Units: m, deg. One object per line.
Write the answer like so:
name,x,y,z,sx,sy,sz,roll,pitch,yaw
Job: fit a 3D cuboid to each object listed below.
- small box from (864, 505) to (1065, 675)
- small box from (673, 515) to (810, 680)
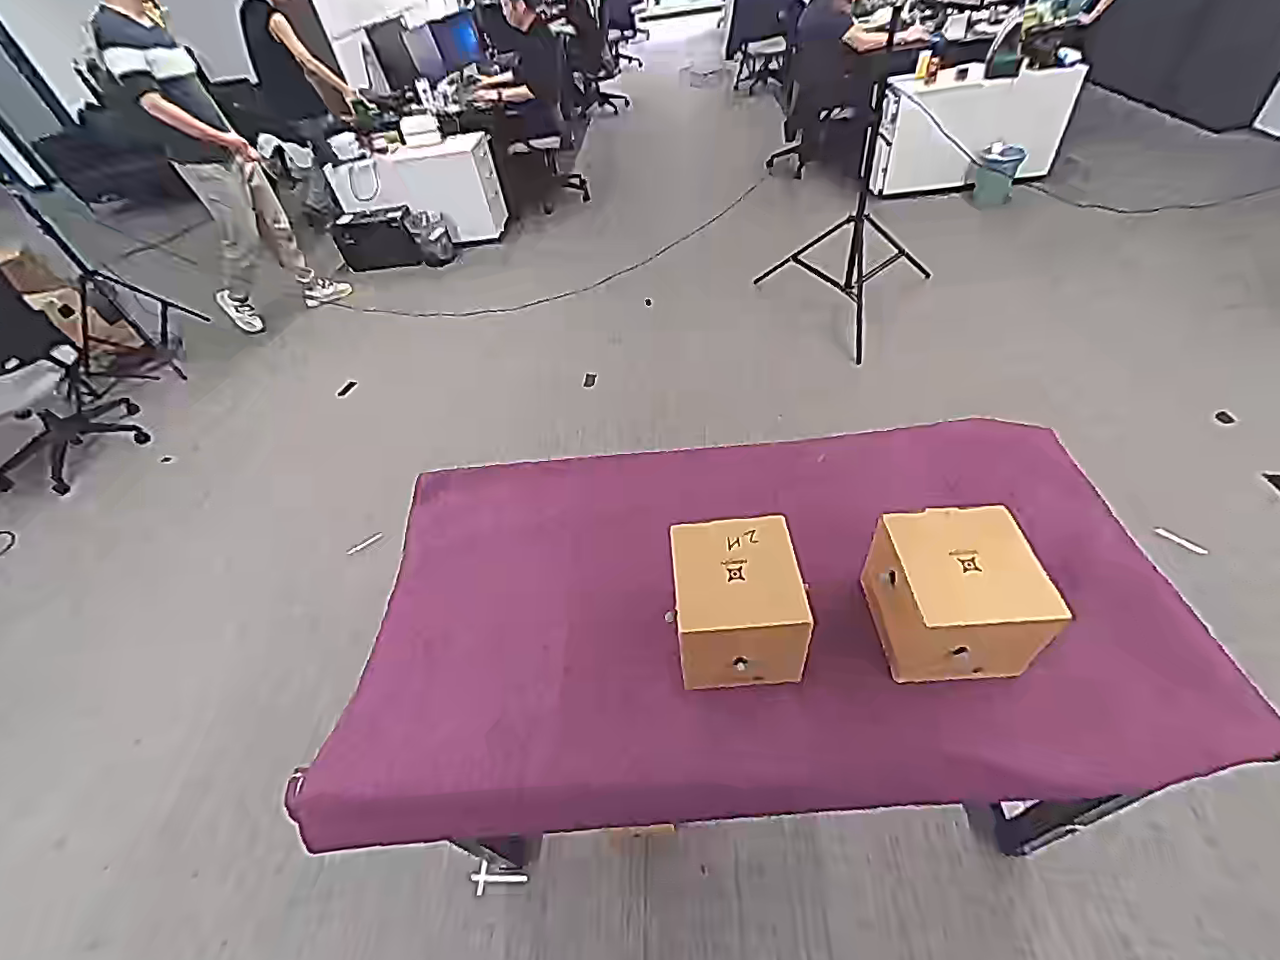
small box,0.427,0.158,0.750,0.168,0.176,0.179,-5,46,5
small box,0.138,0.174,0.780,0.168,0.176,0.179,-5,45,3
